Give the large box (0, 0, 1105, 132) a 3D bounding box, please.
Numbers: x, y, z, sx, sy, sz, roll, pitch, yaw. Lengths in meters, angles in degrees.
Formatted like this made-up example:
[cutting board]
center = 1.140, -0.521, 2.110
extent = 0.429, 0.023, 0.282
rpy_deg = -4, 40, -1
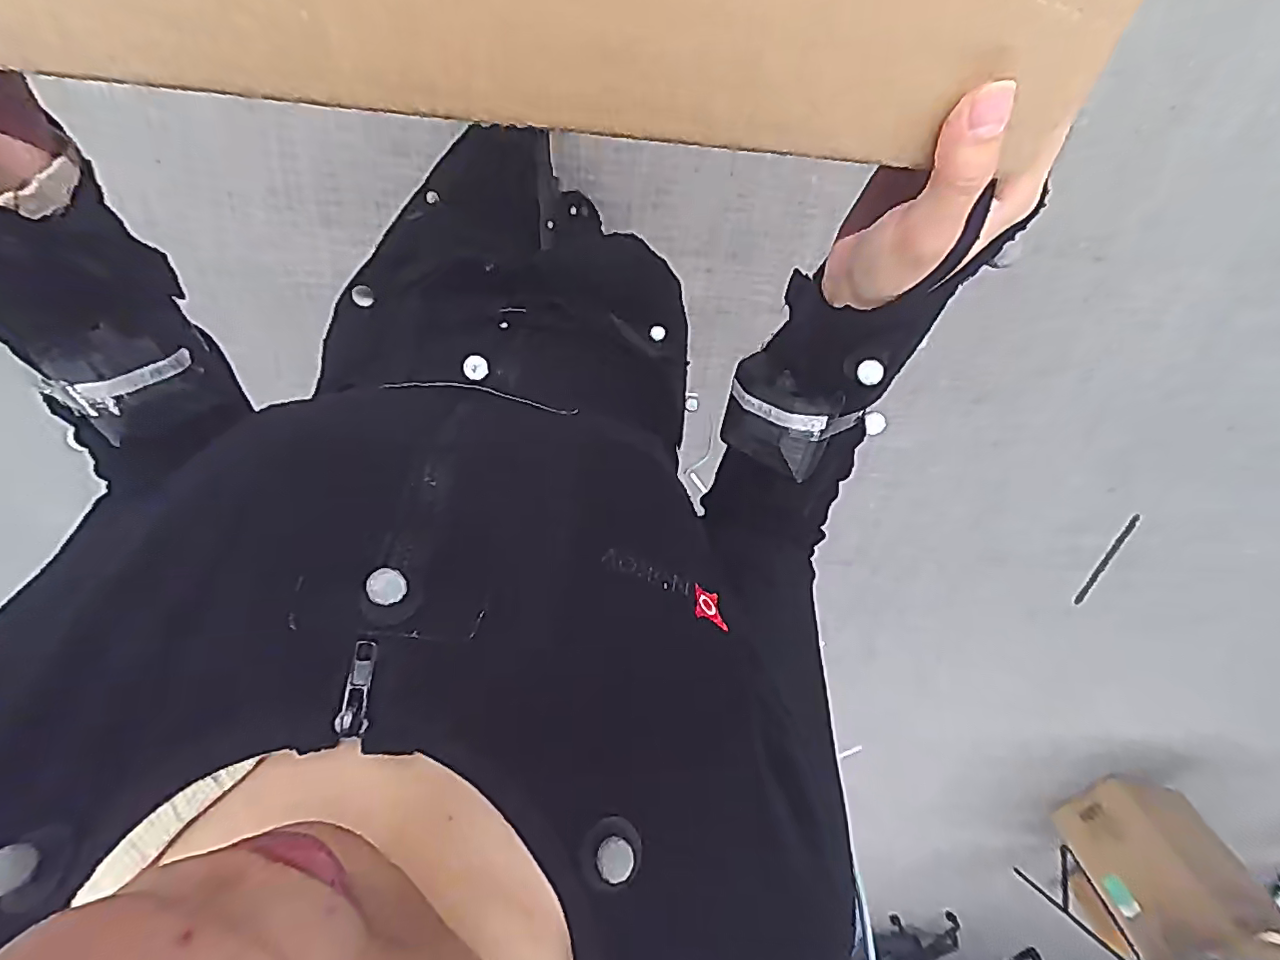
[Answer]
[large box]
center = -0.045, -0.344, 0.152
extent = 0.408, 0.320, 0.320
rpy_deg = 2, 145, -5
